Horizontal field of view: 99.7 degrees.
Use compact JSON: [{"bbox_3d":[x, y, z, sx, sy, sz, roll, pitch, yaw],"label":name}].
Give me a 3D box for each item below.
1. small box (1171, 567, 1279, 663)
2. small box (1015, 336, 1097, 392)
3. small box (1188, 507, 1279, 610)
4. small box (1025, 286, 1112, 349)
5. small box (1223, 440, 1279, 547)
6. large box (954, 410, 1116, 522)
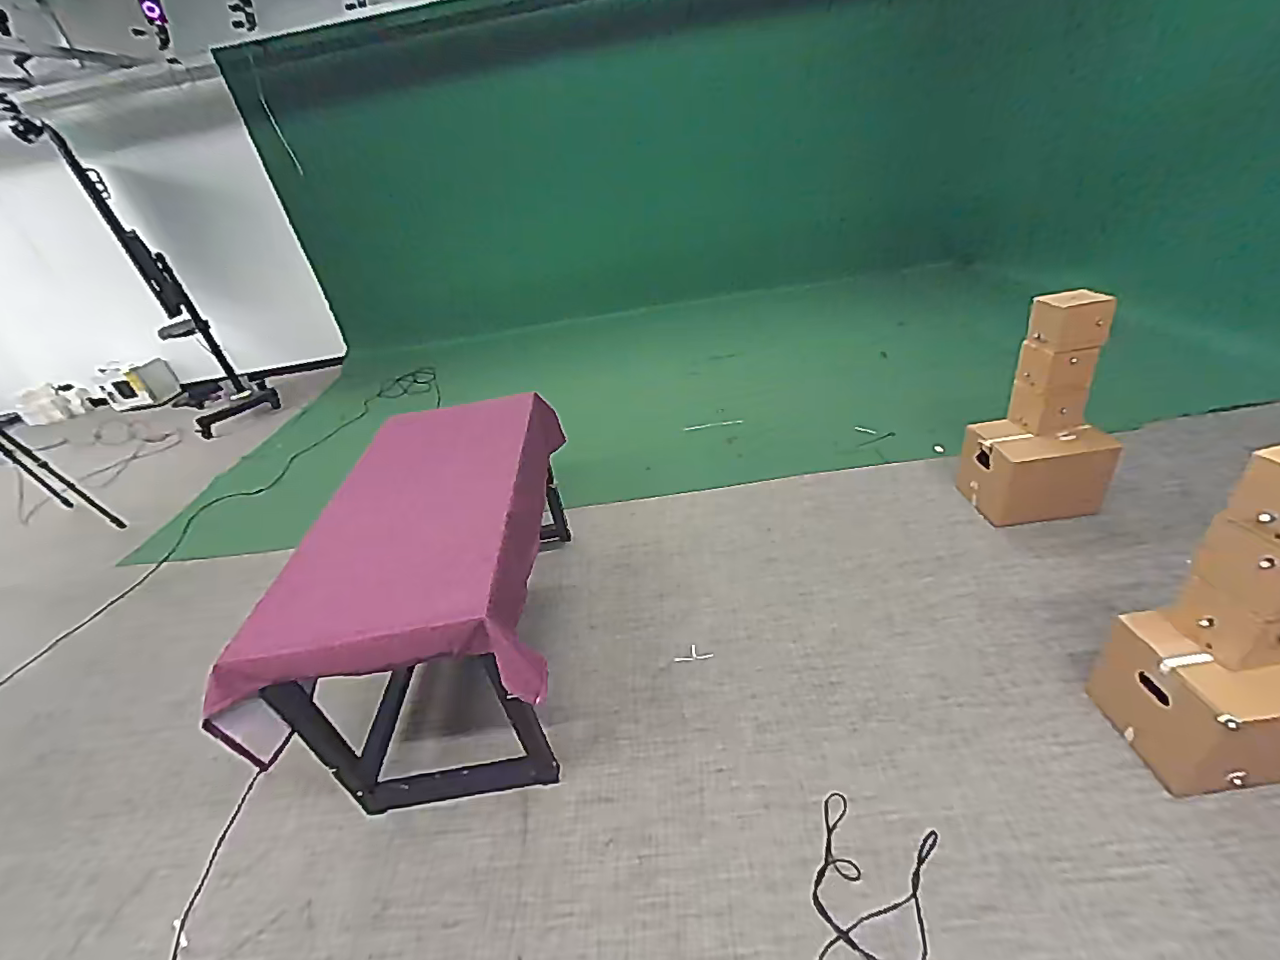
[{"bbox_3d":[1.404,0.301,1.261,0.179,0.176,0.168,-11,32,0],"label":"small box"},{"bbox_3d":[1.564,-0.451,2.048,0.179,0.176,0.168,-10,30,3],"label":"small box"},{"bbox_3d":[1.374,0.163,1.175,0.168,0.176,0.179,-10,31,-1],"label":"small box"},{"bbox_3d":[1.545,-0.589,1.962,0.179,0.176,0.168,-9,29,5],"label":"small box"},{"bbox_3d":[1.354,0.026,1.085,0.179,0.176,0.168,-13,32,-2],"label":"small box"},{"bbox_3d":[1.575,-0.059,2.198,0.408,0.320,0.320,-8,32,2],"label":"large box"}]
